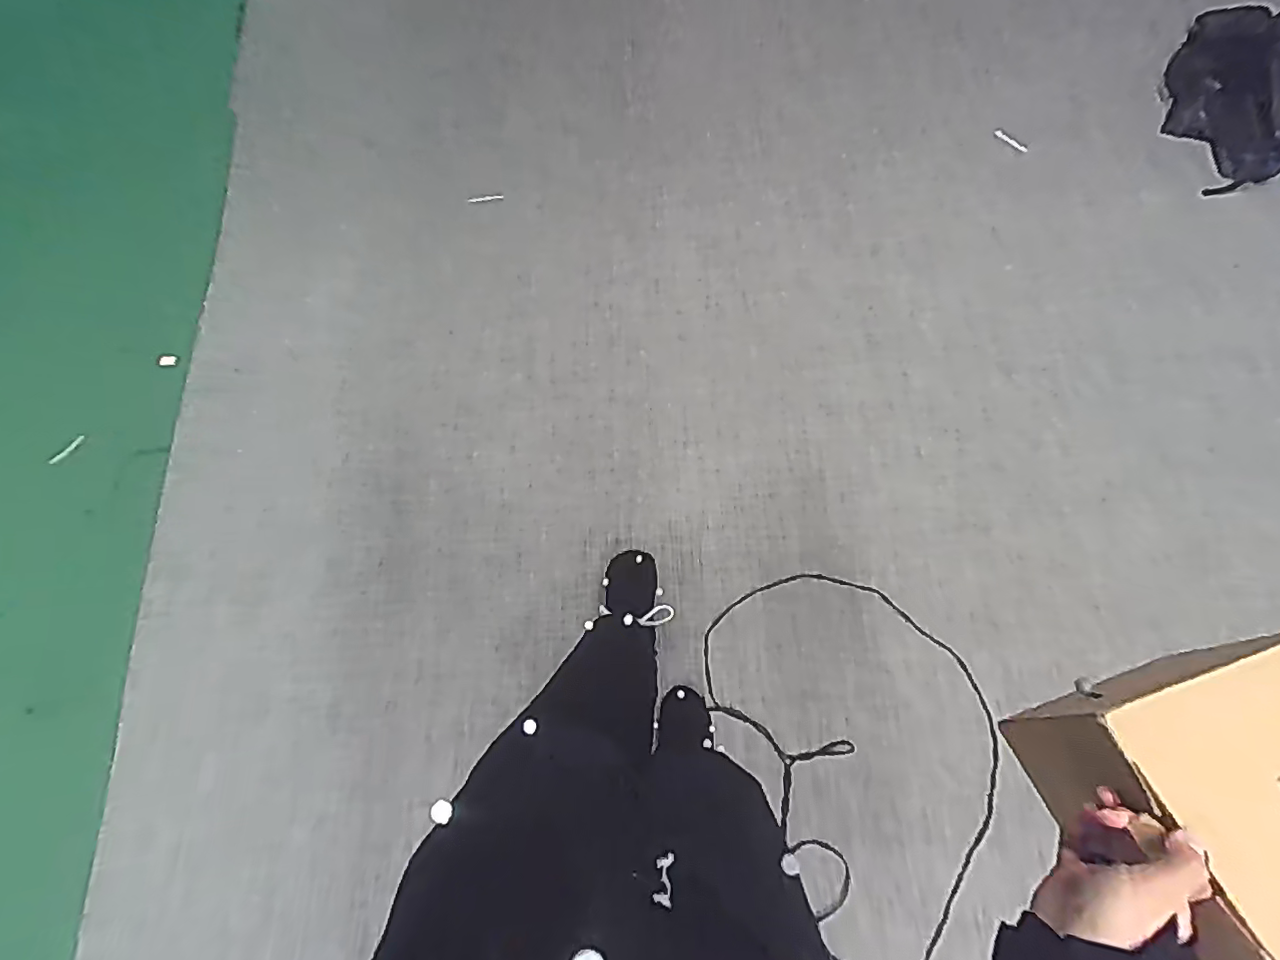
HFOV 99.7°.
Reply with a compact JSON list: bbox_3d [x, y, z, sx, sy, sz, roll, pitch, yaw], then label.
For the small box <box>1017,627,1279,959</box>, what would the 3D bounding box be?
[{"bbox_3d":[0.424,0.226,0.398,0.179,0.176,0.168,-21,63,-2],"label":"small box"}]
